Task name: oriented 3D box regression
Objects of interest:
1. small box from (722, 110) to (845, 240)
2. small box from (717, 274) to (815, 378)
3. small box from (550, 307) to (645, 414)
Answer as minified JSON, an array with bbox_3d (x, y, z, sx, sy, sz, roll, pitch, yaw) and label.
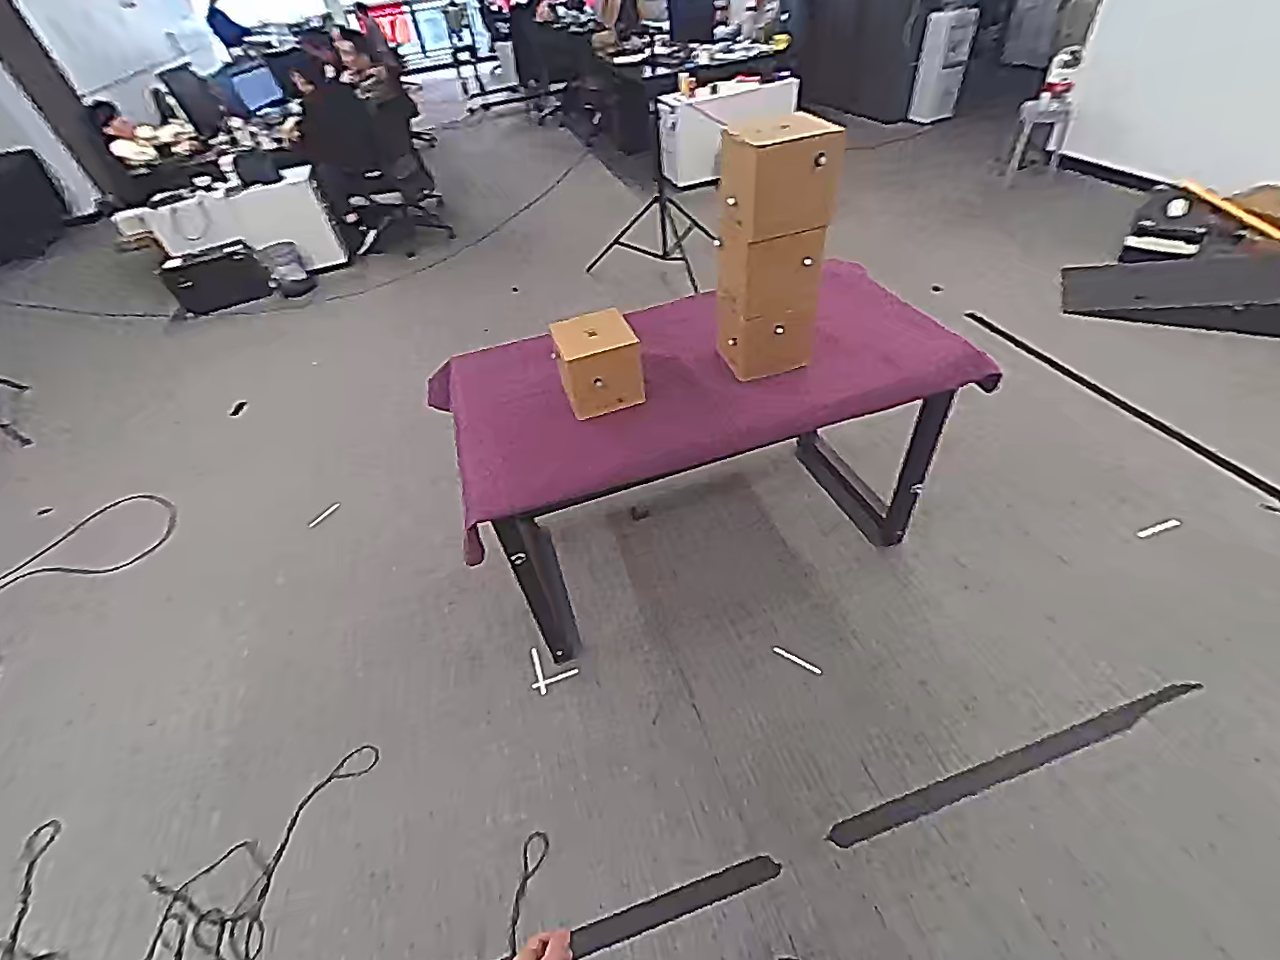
[{"bbox_3d":[0.270,-0.597,1.060,0.179,0.176,0.168,-16,45,-7],"label":"small box"},{"bbox_3d":[0.296,-0.366,1.294,0.179,0.176,0.168,-15,46,-7],"label":"small box"},{"bbox_3d":[-0.095,-0.271,1.262,0.168,0.176,0.179,-18,45,-9],"label":"small box"}]
